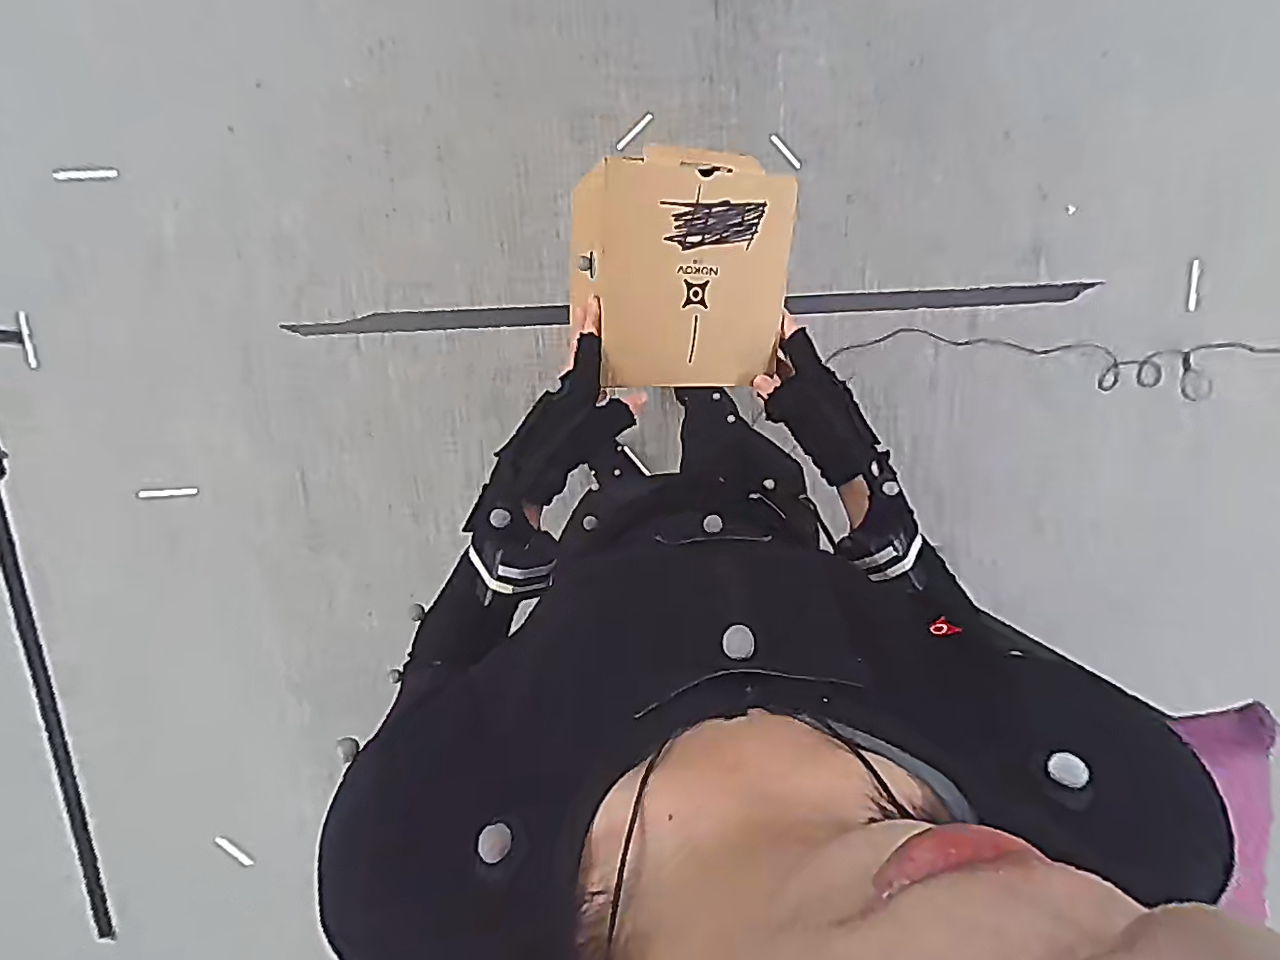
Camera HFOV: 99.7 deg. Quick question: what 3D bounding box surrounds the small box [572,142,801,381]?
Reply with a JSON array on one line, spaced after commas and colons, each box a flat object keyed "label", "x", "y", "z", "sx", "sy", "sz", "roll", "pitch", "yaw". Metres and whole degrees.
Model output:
[{"label": "small box", "x": 0.029, "y": -0.195, "z": 0.522, "sx": 0.168, "sy": 0.176, "sz": 0.179, "roll": -2, "pitch": 109, "yaw": -16}]
